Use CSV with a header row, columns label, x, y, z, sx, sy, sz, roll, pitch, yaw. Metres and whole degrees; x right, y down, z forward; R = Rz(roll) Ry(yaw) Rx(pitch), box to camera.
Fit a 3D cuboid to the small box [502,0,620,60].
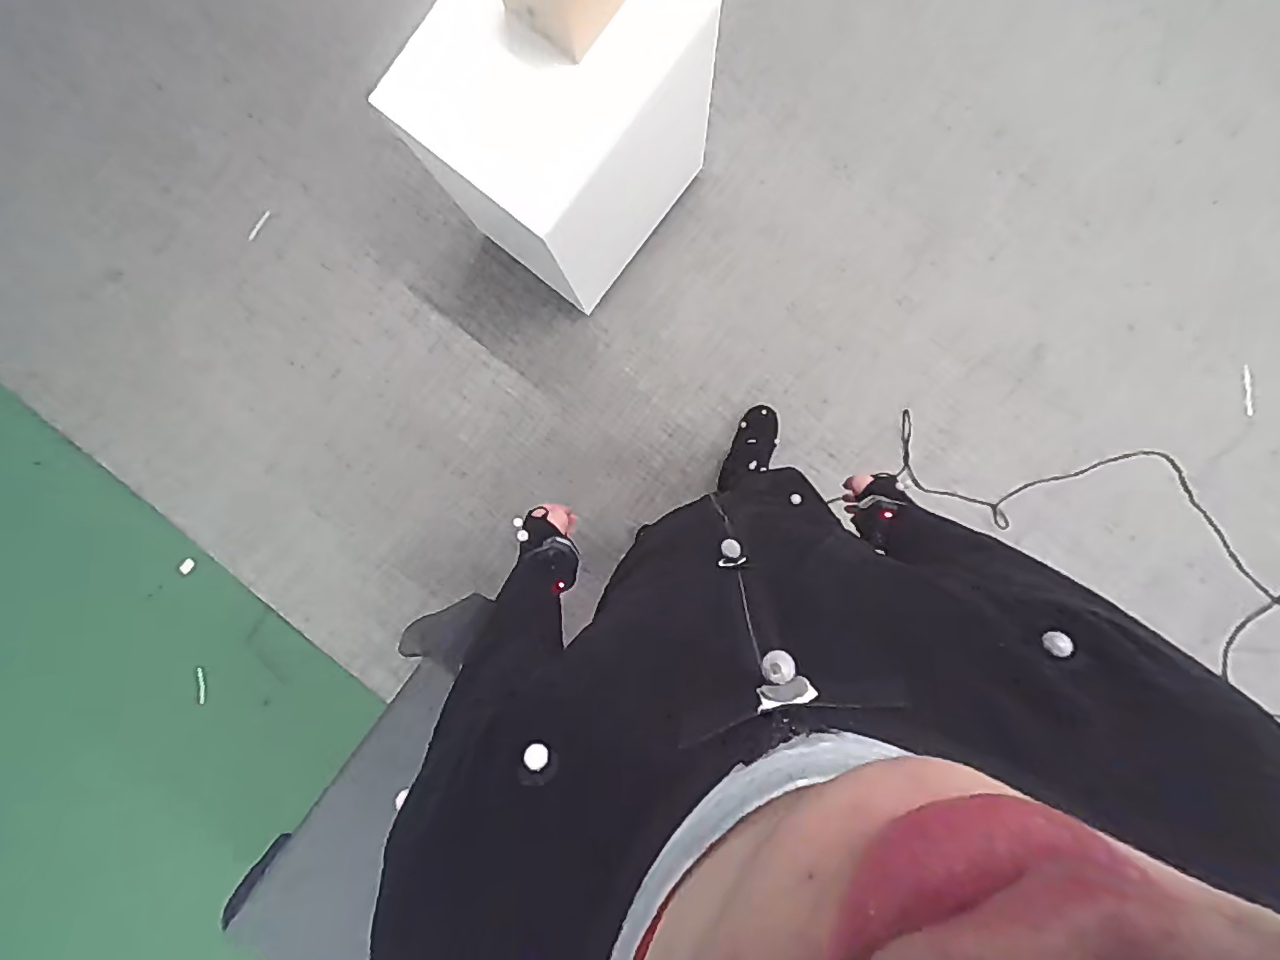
label,x,y,z,sx,sy,sz,roll,pitch,yaw
small box,-0.127,-0.819,0.833,0.168,0.176,0.179,39,94,0
